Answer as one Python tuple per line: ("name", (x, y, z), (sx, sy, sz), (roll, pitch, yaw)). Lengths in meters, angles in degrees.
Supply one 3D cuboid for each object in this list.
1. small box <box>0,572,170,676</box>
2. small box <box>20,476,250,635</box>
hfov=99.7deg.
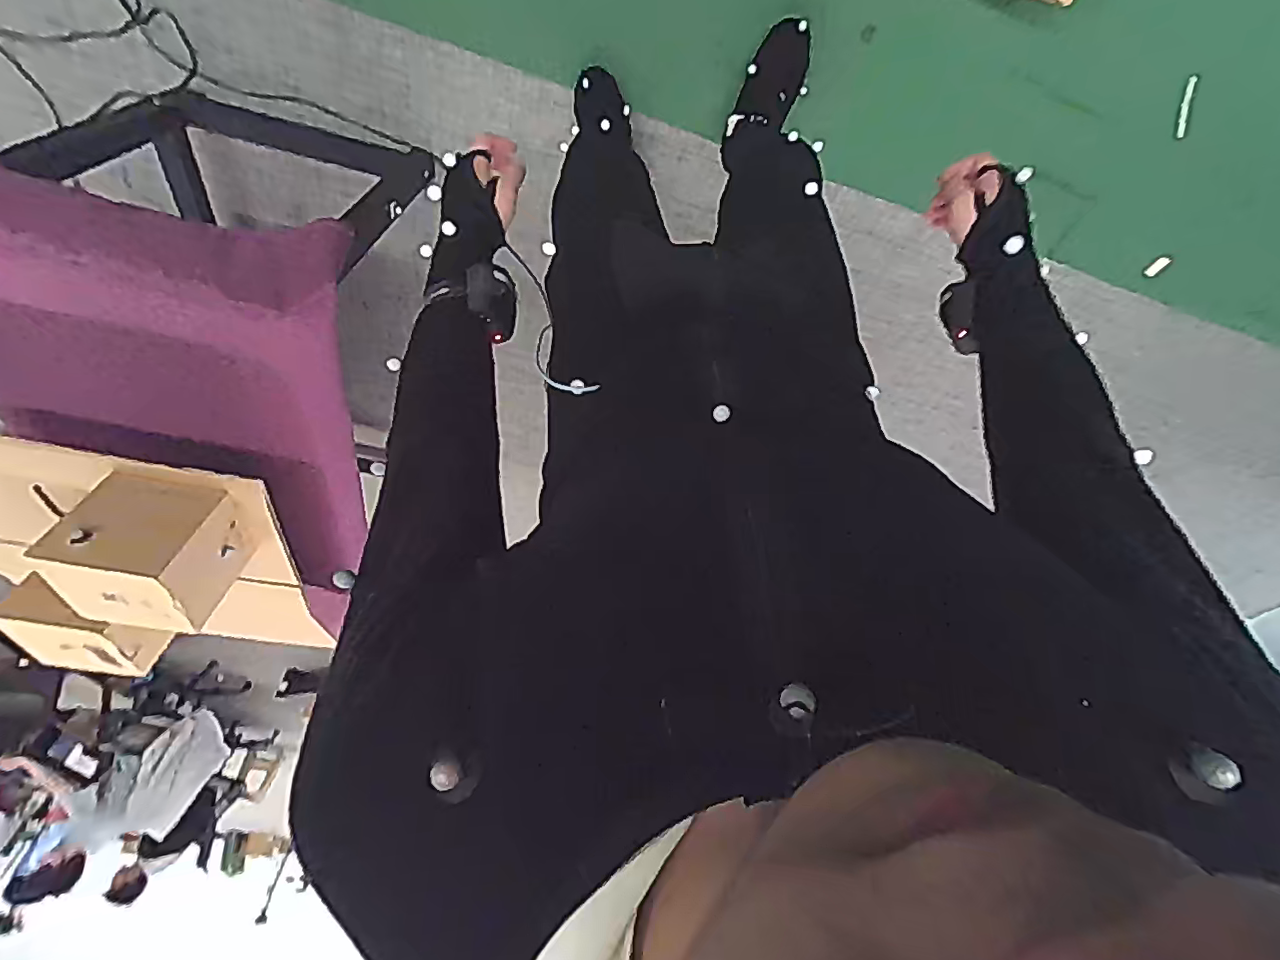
("small box", (-0.967, 0.228, 0.973), (0.179, 0.176, 0.168), (12, 134, -6))
("small box", (-0.764, 0.114, 0.846), (0.179, 0.176, 0.168), (11, 135, -7))
